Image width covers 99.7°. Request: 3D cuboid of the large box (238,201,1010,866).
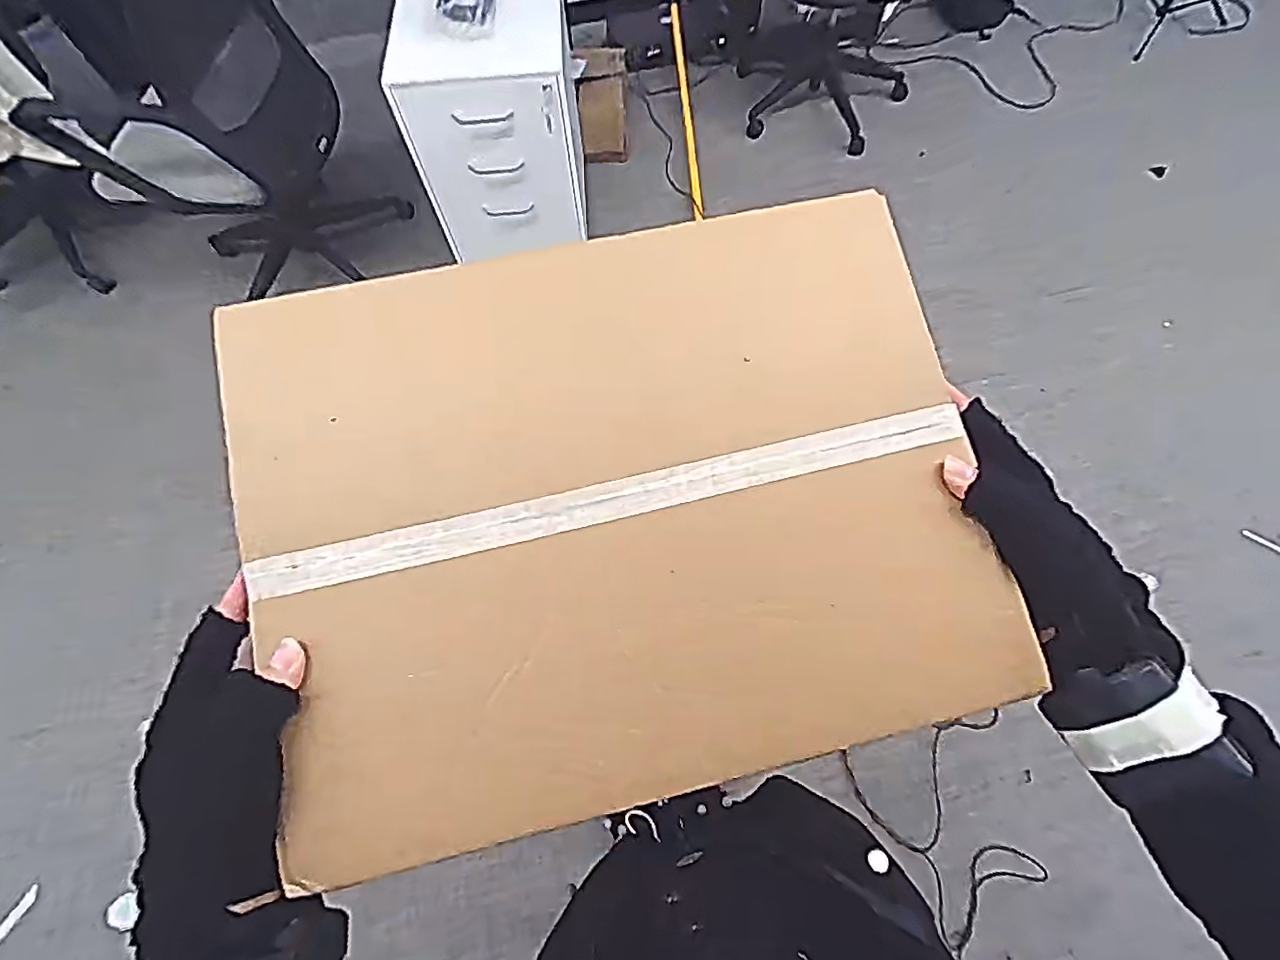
[{"bbox_3d":[-0.018,0.030,0.460,0.408,0.320,0.320,-12,81,-5],"label":"large box"}]
